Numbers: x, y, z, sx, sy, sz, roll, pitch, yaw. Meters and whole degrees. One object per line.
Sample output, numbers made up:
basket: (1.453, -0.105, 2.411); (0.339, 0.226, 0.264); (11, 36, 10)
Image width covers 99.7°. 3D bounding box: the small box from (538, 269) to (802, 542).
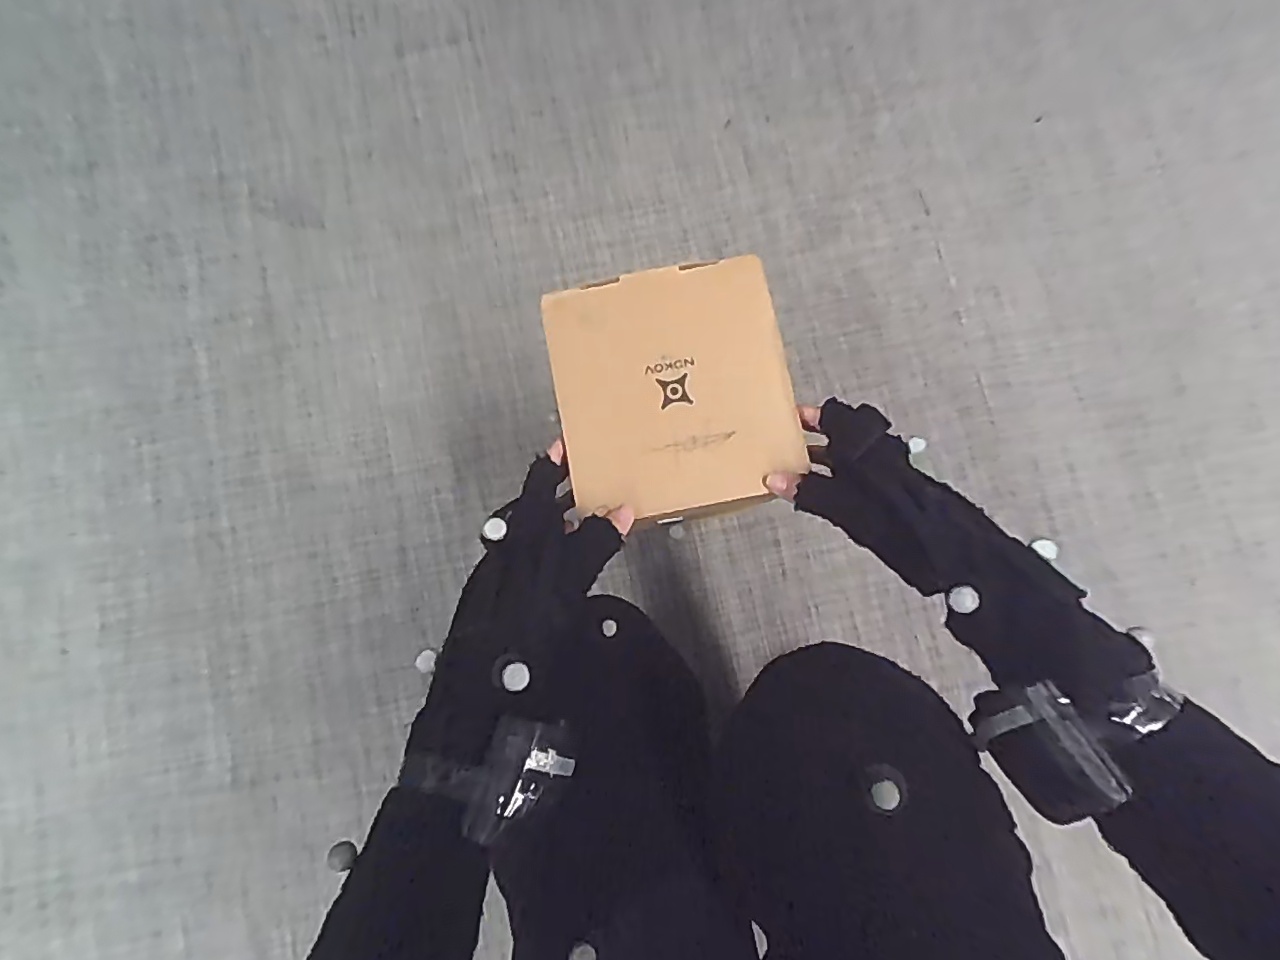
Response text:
small box: (0.020, -0.046, 0.461); (0.168, 0.176, 0.179); (-10, 83, 1)
